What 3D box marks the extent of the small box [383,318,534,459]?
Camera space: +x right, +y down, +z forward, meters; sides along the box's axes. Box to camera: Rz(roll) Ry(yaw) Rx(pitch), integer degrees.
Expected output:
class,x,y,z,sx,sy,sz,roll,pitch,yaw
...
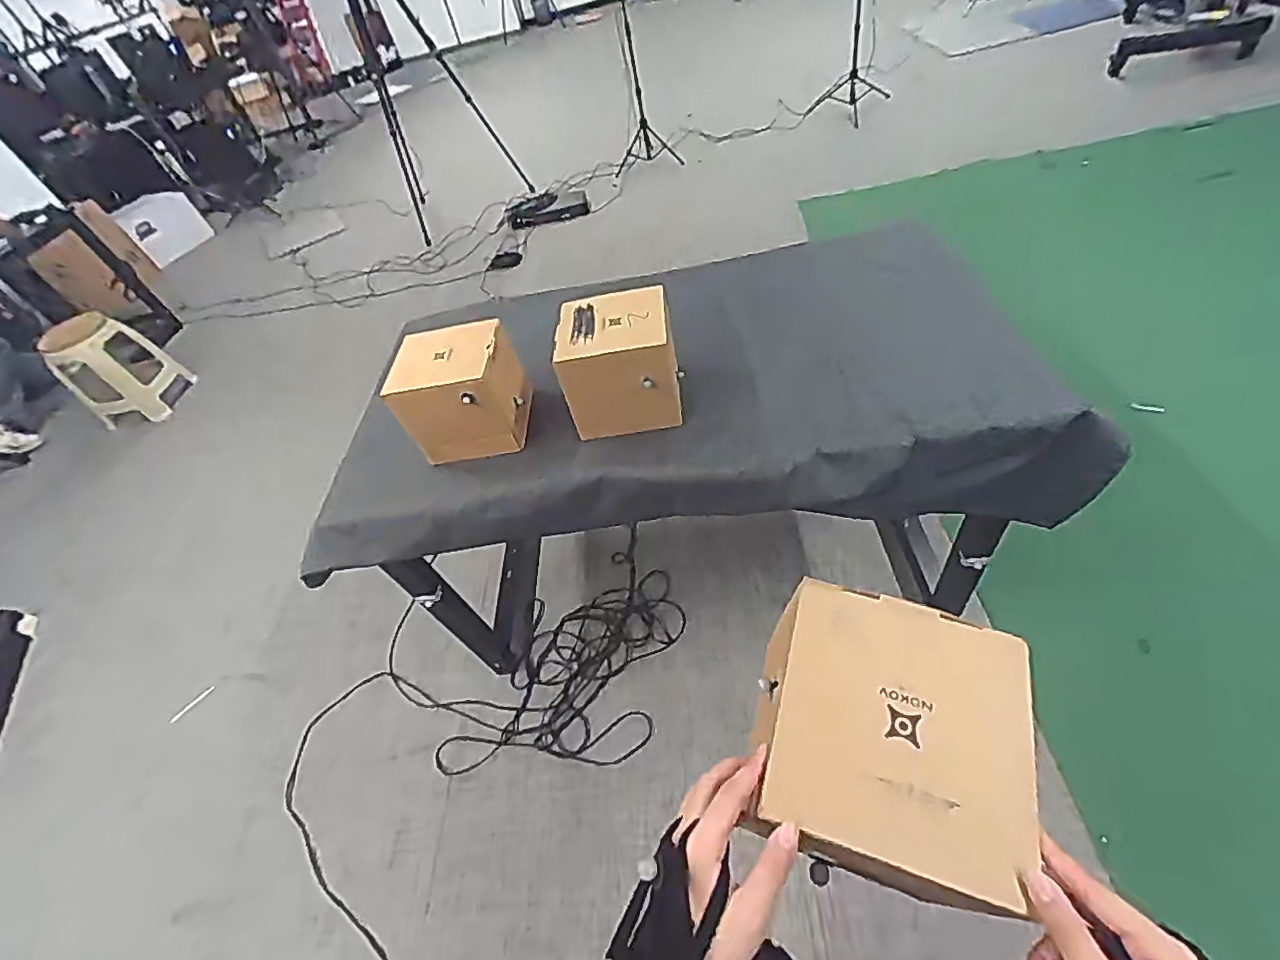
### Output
class,x,y,z,sx,sy,sz,roll,pitch,yaw
small box,-0.303,-0.153,0.942,0.179,0.176,0.168,-8,48,7

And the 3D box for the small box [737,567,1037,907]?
class,x,y,z,sx,sy,sz,roll,pitch,yaw
small box,0.182,0.203,0.438,0.168,0.176,0.179,15,58,13
